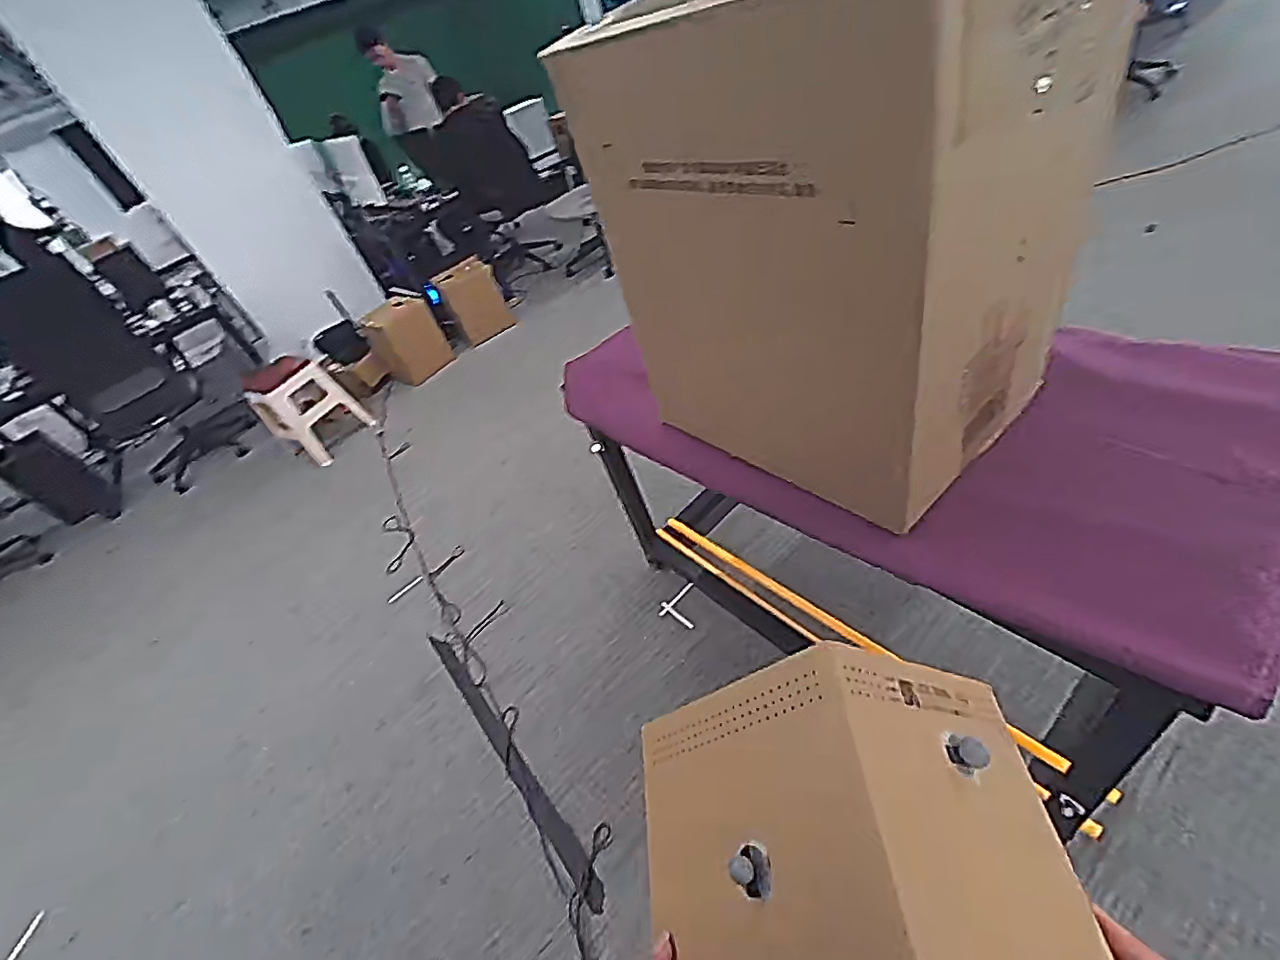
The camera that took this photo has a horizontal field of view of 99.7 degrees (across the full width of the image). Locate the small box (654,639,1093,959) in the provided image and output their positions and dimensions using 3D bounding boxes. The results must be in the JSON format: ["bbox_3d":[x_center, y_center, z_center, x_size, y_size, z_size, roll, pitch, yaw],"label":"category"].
[{"bbox_3d":[0.121,0.218,0.326,0.179,0.168,0.176,-44,36,38],"label":"small box"}]
